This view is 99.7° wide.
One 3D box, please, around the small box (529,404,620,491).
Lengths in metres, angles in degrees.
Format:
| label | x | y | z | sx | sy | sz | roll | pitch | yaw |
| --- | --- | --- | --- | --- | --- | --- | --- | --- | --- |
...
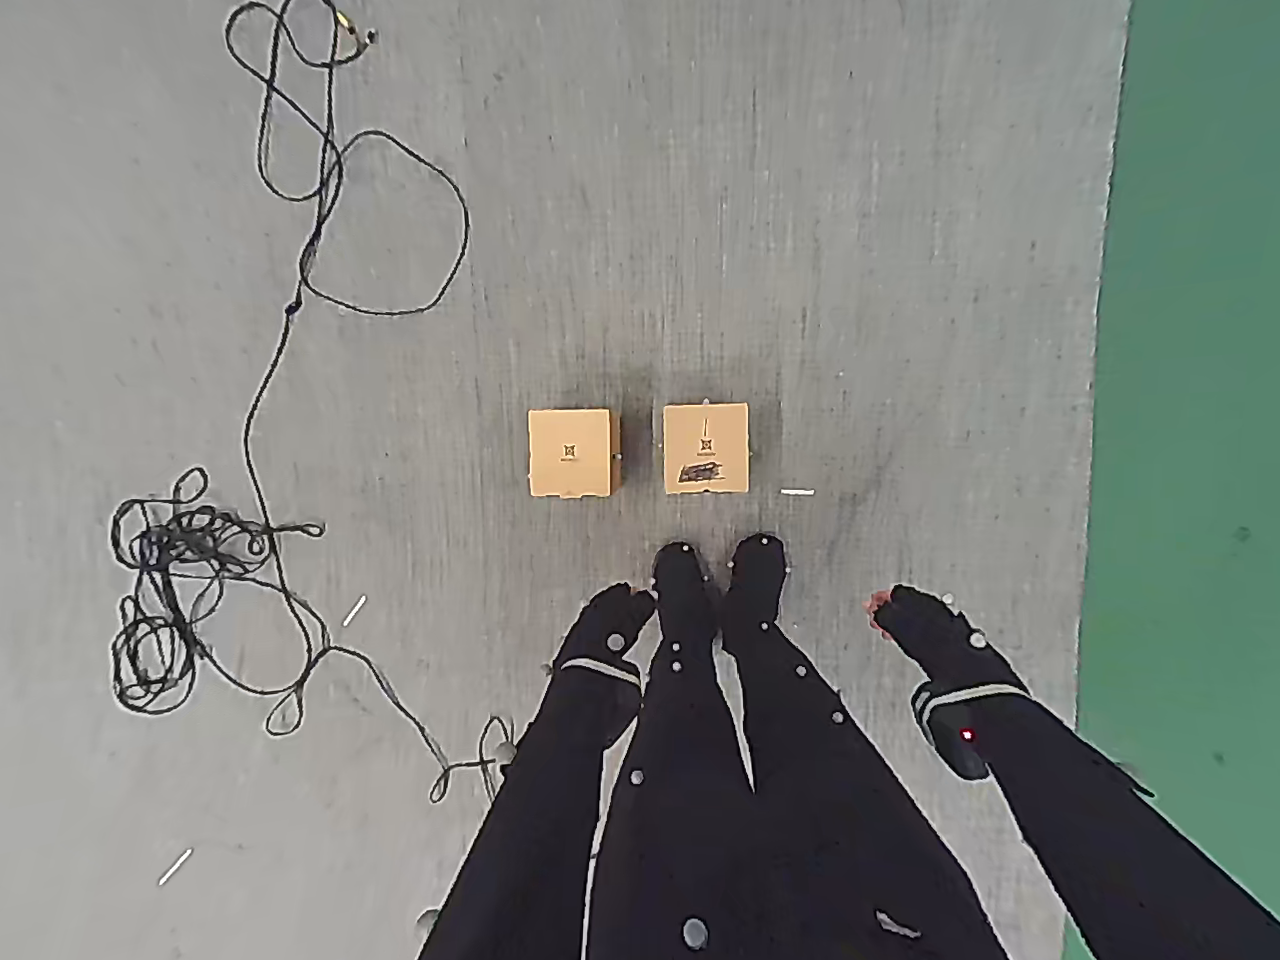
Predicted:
| label | x | y | z | sx | sy | sz | roll | pitch | yaw |
| --- | --- | --- | --- | --- | --- | --- | --- | --- | --- |
| small box | -0.136 | -0.071 | 1.166 | 0.168 | 0.176 | 0.179 | 0 | 95 | 6 |

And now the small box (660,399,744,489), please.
| label | x | y | z | sx | sy | sz | roll | pitch | yaw |
| --- | --- | --- | --- | --- | --- | --- | --- | --- | --- |
| small box | 0.129 | -0.077 | 1.139 | 0.168 | 0.176 | 0.179 | -1 | 94 | 5 |
